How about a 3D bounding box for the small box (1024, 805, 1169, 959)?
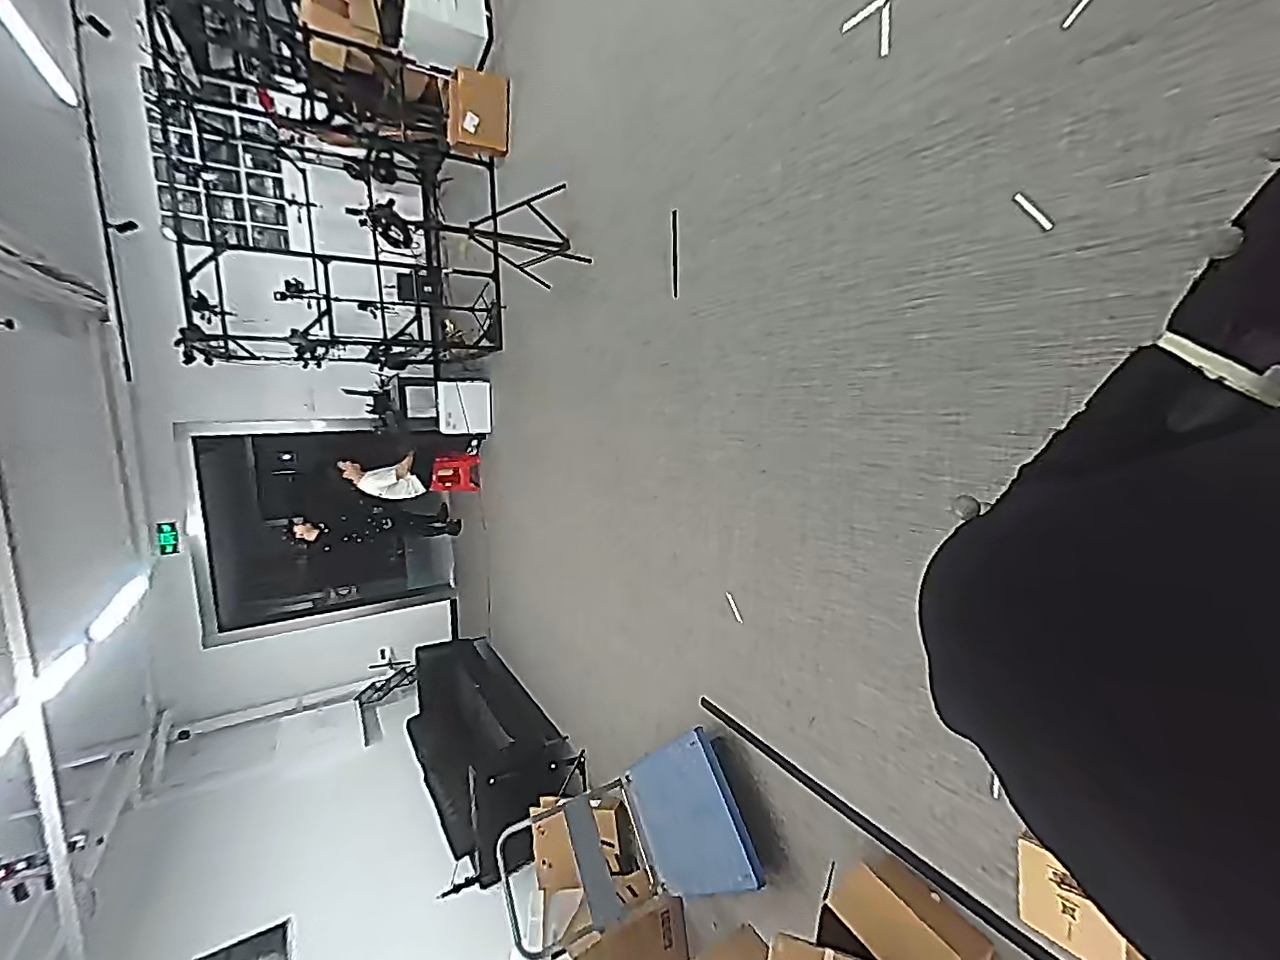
[{"bbox_3d":[0.851,0.755,1.012,0.168,0.176,0.179,3,99,59],"label":"small box"}]
